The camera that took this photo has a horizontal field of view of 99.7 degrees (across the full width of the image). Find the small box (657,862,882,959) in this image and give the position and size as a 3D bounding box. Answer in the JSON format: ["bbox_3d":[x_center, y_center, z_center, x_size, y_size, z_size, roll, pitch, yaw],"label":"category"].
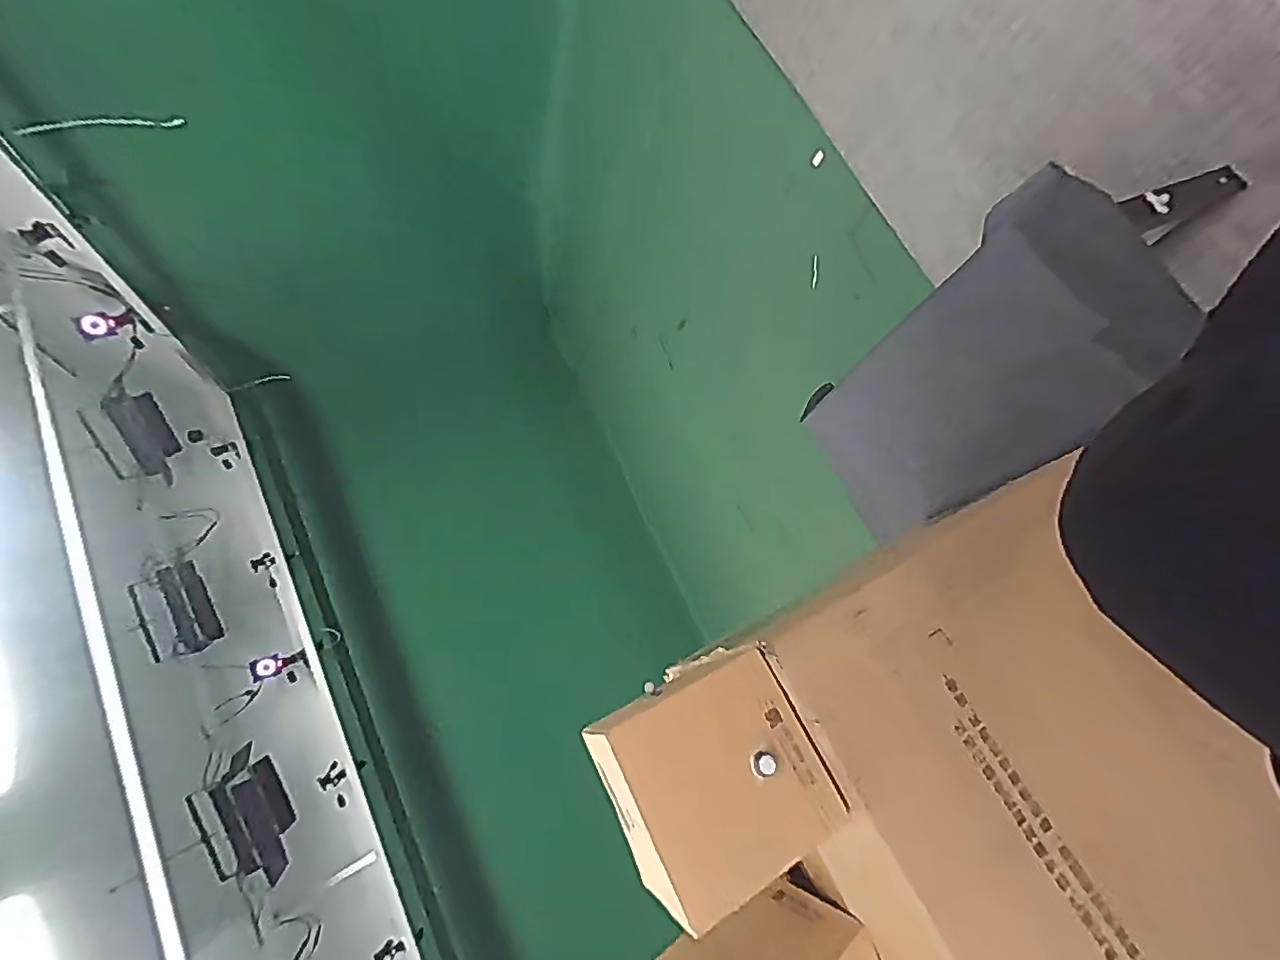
[{"bbox_3d":[0.152,0.551,0.554,0.168,0.176,0.179,-28,83,58],"label":"small box"}]

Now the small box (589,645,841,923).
[{"bbox_3d":[0.065,0.287,0.550,0.168,0.176,0.179,62,158,16],"label":"small box"}]
